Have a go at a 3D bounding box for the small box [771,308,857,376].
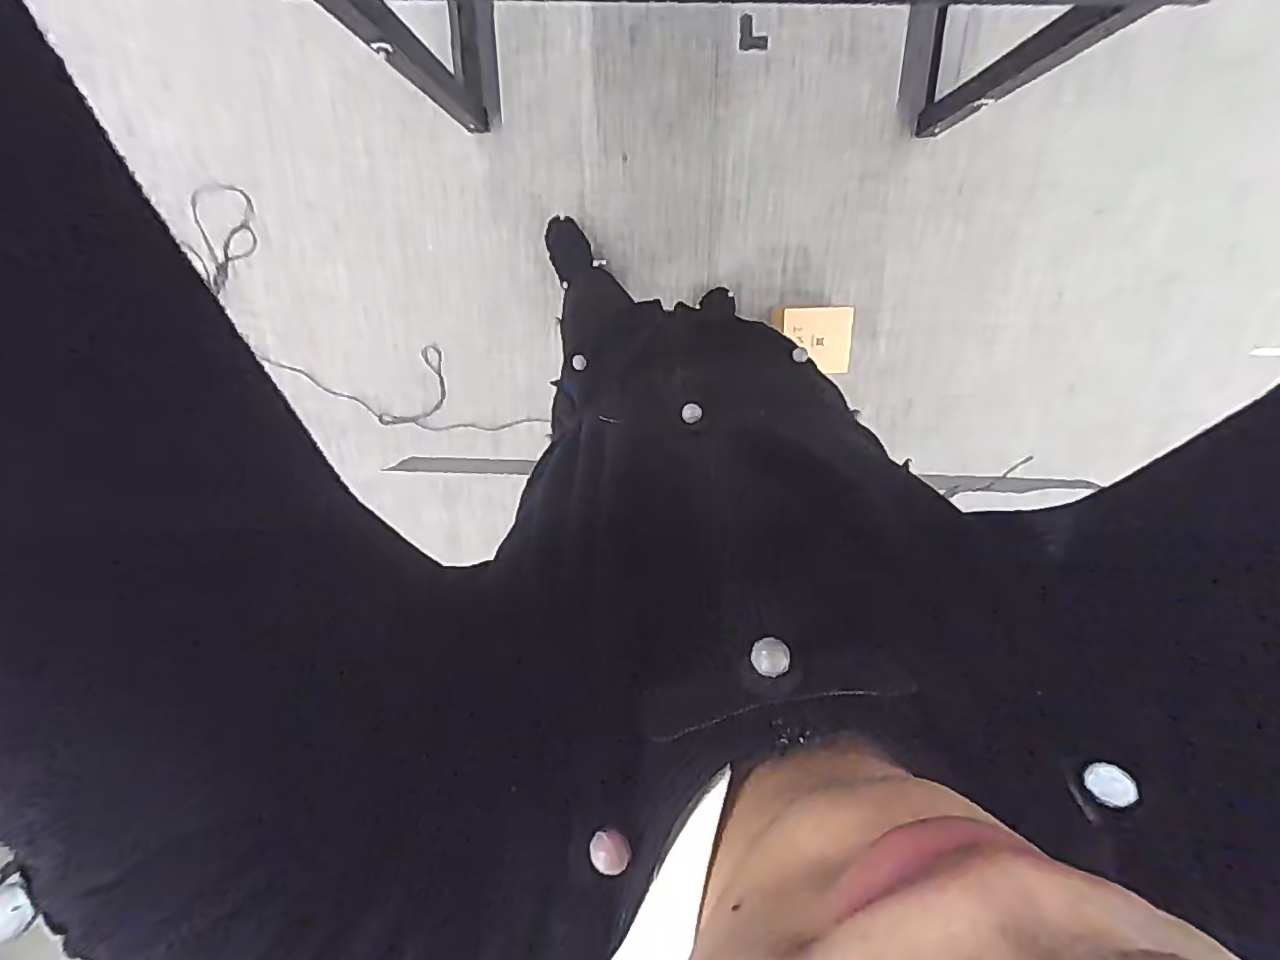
[{"bbox_3d":[0.460,-0.373,1.451,0.179,0.176,0.168,0,109,3],"label":"small box"}]
